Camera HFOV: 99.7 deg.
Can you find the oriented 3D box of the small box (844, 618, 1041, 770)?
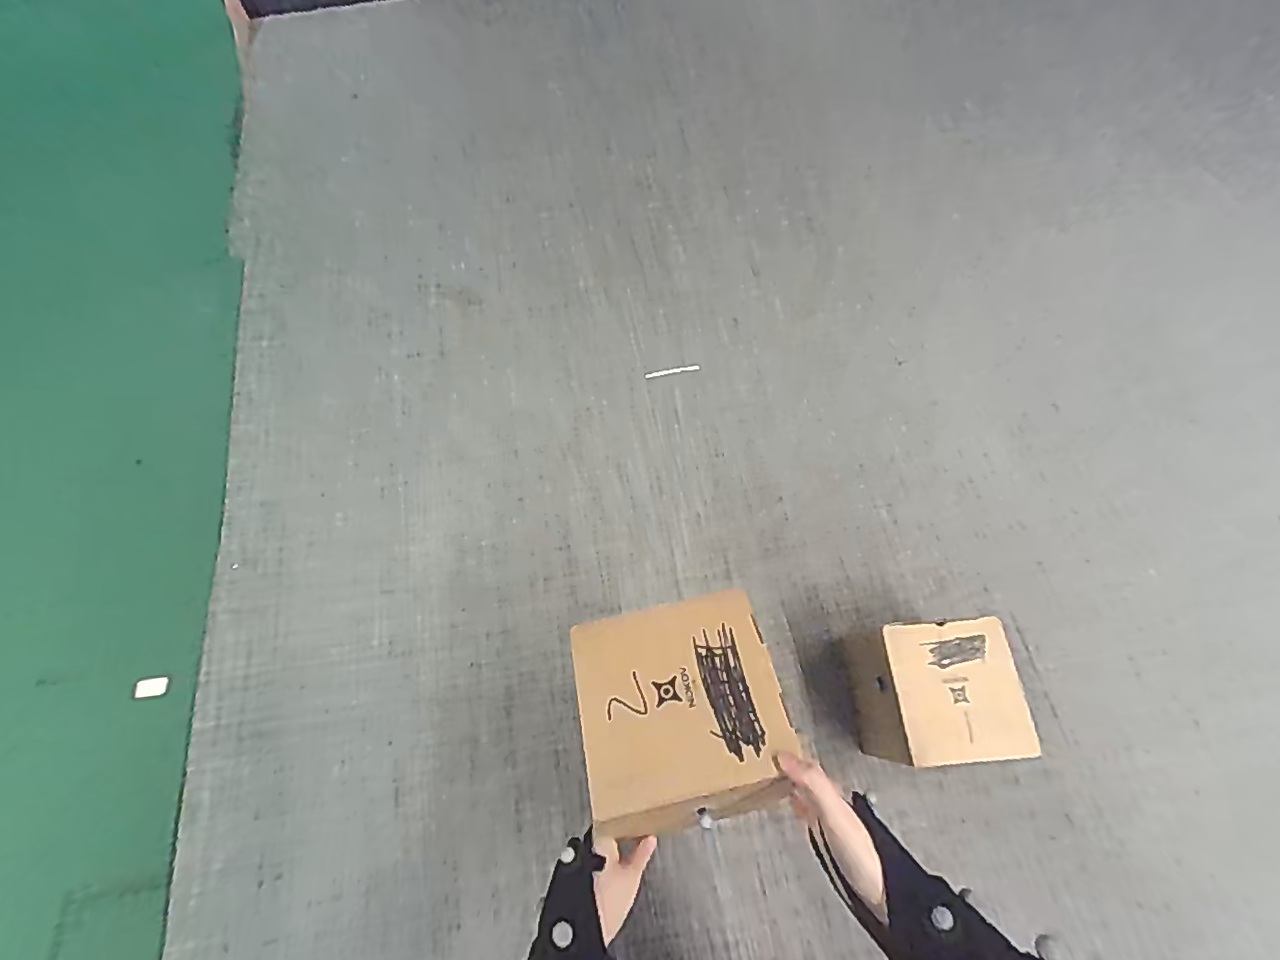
[{"bbox_3d":[0.414,0.305,0.778,0.168,0.176,0.179,-5,68,-1],"label":"small box"}]
